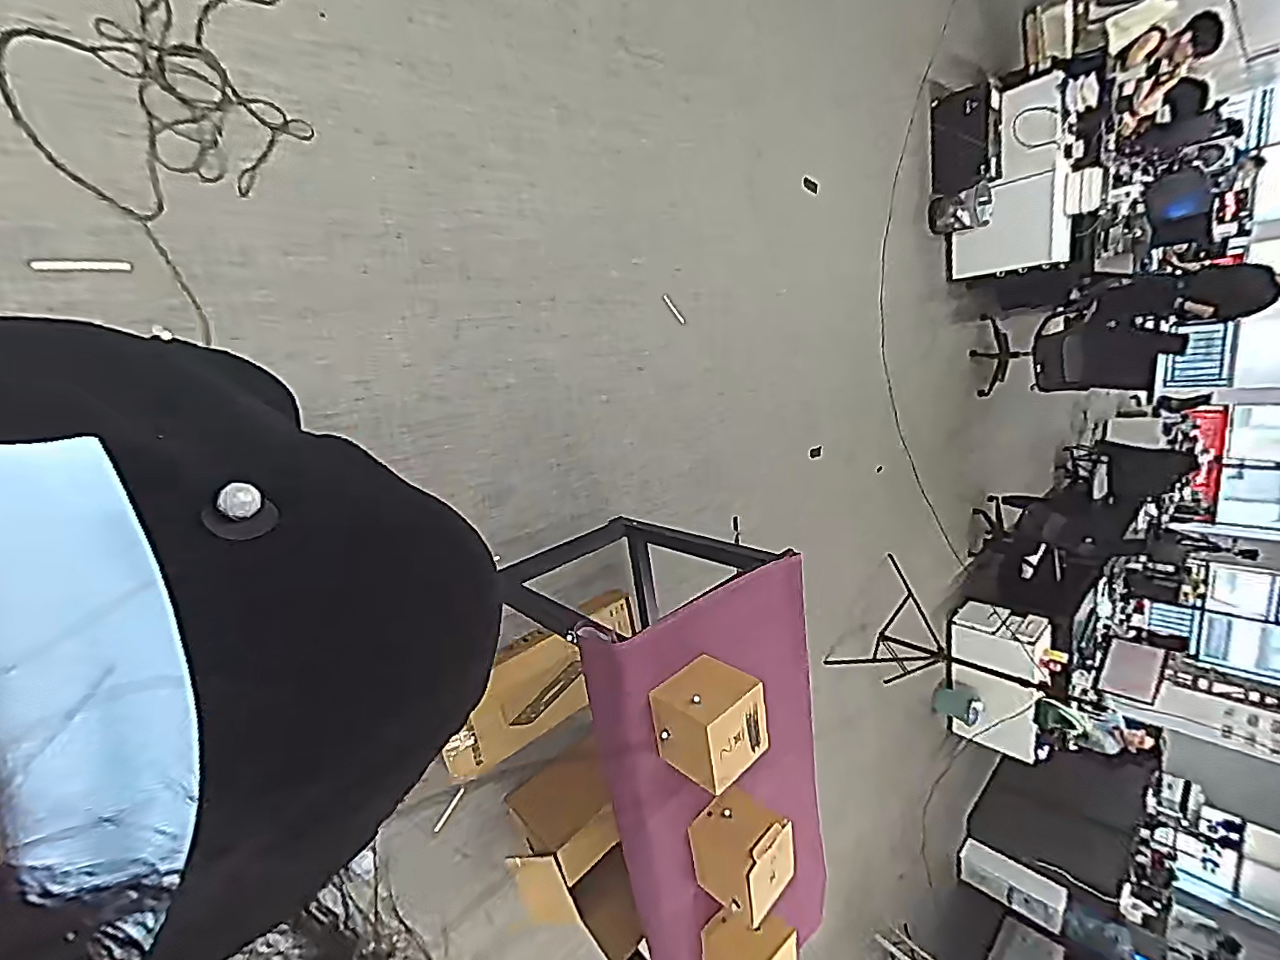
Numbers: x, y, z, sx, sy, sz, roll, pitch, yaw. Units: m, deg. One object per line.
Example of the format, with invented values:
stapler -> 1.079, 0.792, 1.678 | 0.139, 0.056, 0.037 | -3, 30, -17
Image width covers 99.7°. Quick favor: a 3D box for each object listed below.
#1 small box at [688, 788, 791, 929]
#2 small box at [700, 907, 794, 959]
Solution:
small box -> 0.232, 0.875, 1.270 | 0.168, 0.176, 0.179 | -22, 110, -40
small box -> 0.263, 1.185, 1.338 | 0.168, 0.176, 0.179 | -12, 104, -40
